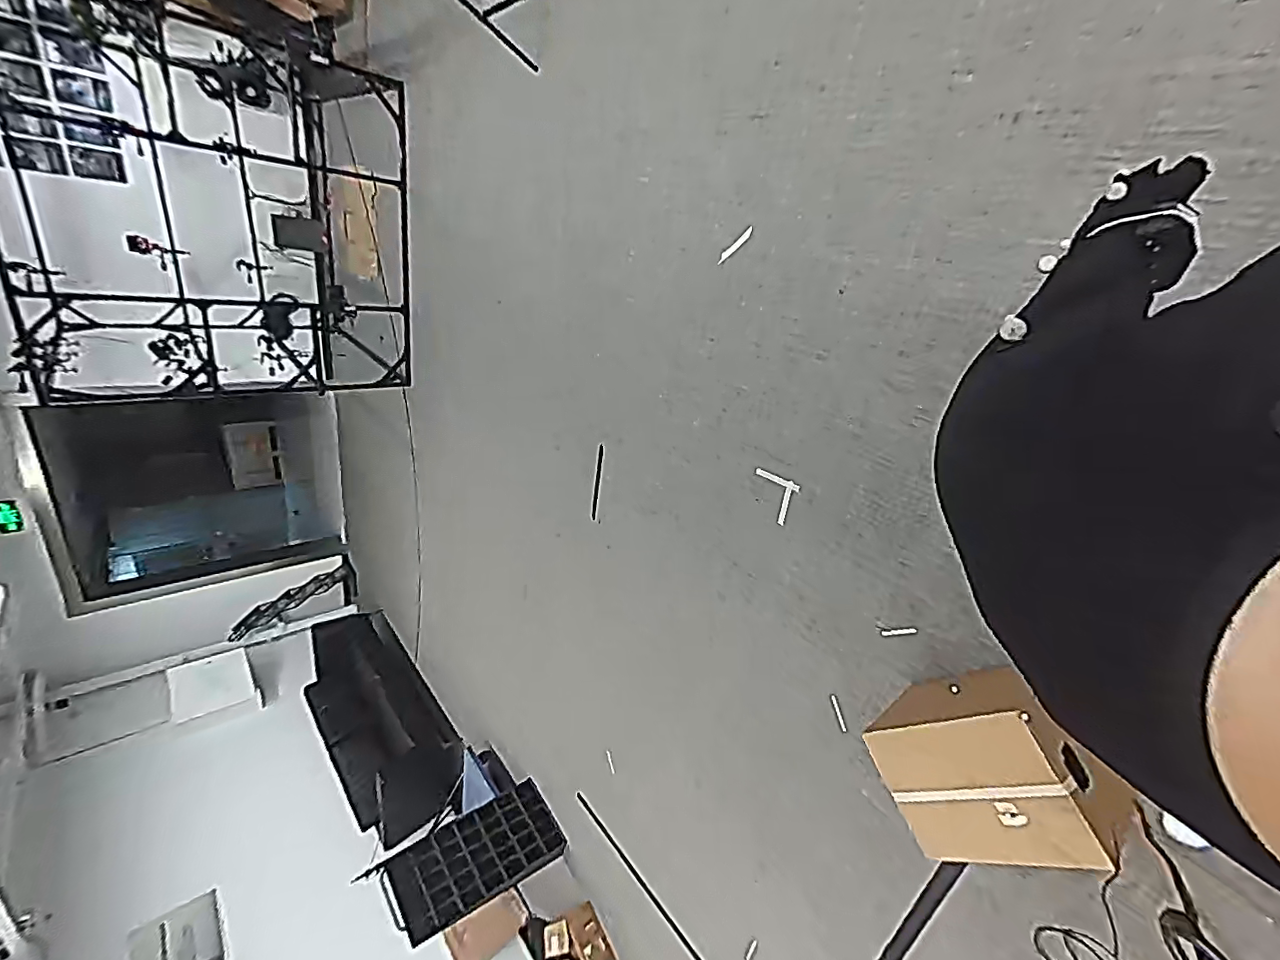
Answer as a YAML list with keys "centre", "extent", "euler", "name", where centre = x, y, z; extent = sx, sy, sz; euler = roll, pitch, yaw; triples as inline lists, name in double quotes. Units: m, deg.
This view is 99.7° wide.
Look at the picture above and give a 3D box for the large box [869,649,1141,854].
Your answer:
- centre: [0.858, 0.648, 1.300]
  extent: [0.408, 0.320, 0.320]
  euler: [-42, 69, 45]
  name: "large box"
